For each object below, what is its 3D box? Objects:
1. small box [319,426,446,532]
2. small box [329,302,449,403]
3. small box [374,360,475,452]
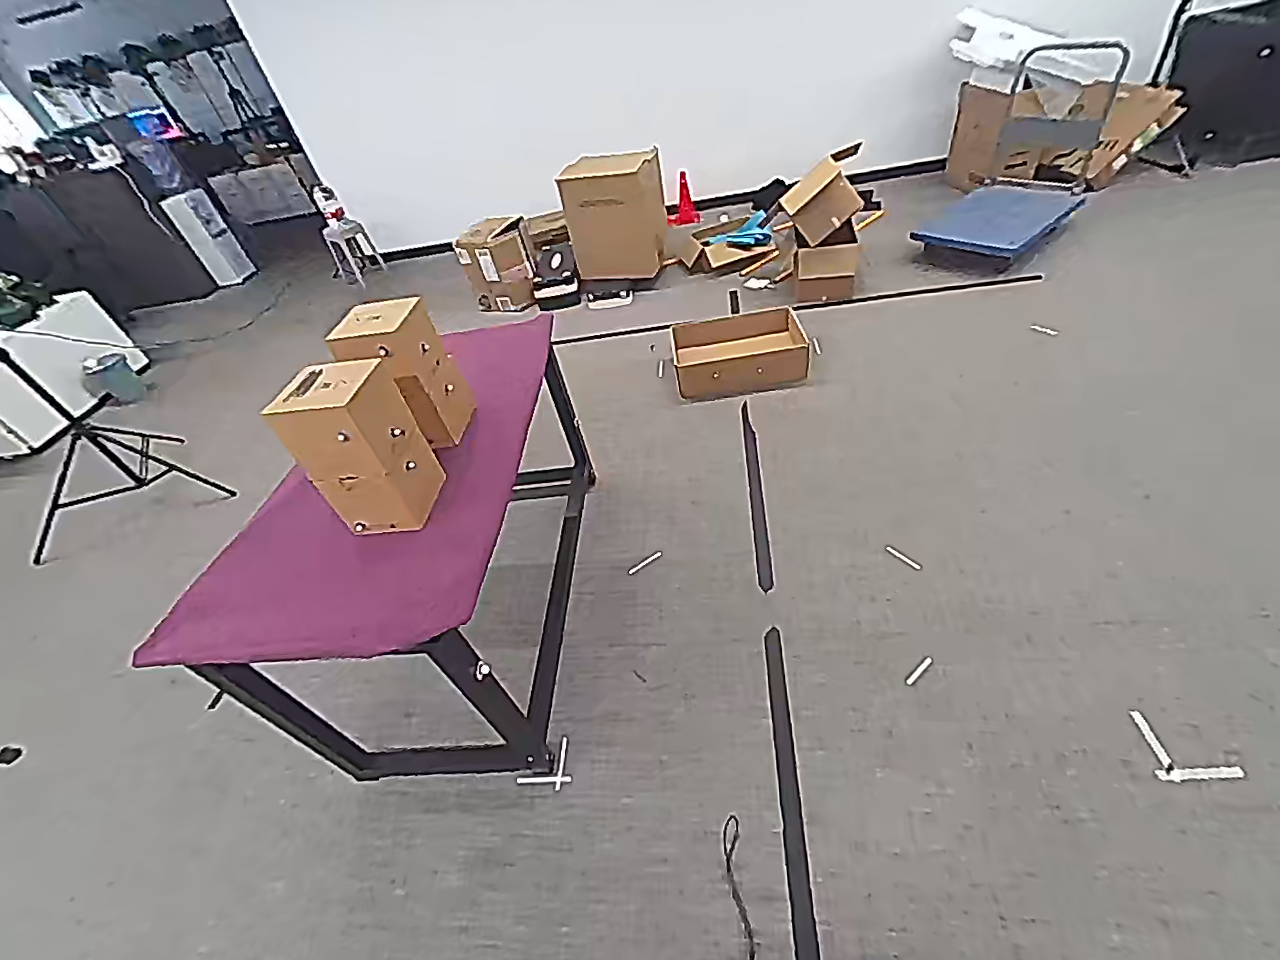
[{"bbox_3d":[-0.560,0.003,1.206,0.168,0.176,0.179,-5,42,9],"label":"small box"},{"bbox_3d":[-0.590,-0.304,1.301,0.179,0.176,0.168,-5,43,10],"label":"small box"},{"bbox_3d":[-0.553,-0.191,1.415,0.168,0.176,0.179,-5,43,10],"label":"small box"}]
